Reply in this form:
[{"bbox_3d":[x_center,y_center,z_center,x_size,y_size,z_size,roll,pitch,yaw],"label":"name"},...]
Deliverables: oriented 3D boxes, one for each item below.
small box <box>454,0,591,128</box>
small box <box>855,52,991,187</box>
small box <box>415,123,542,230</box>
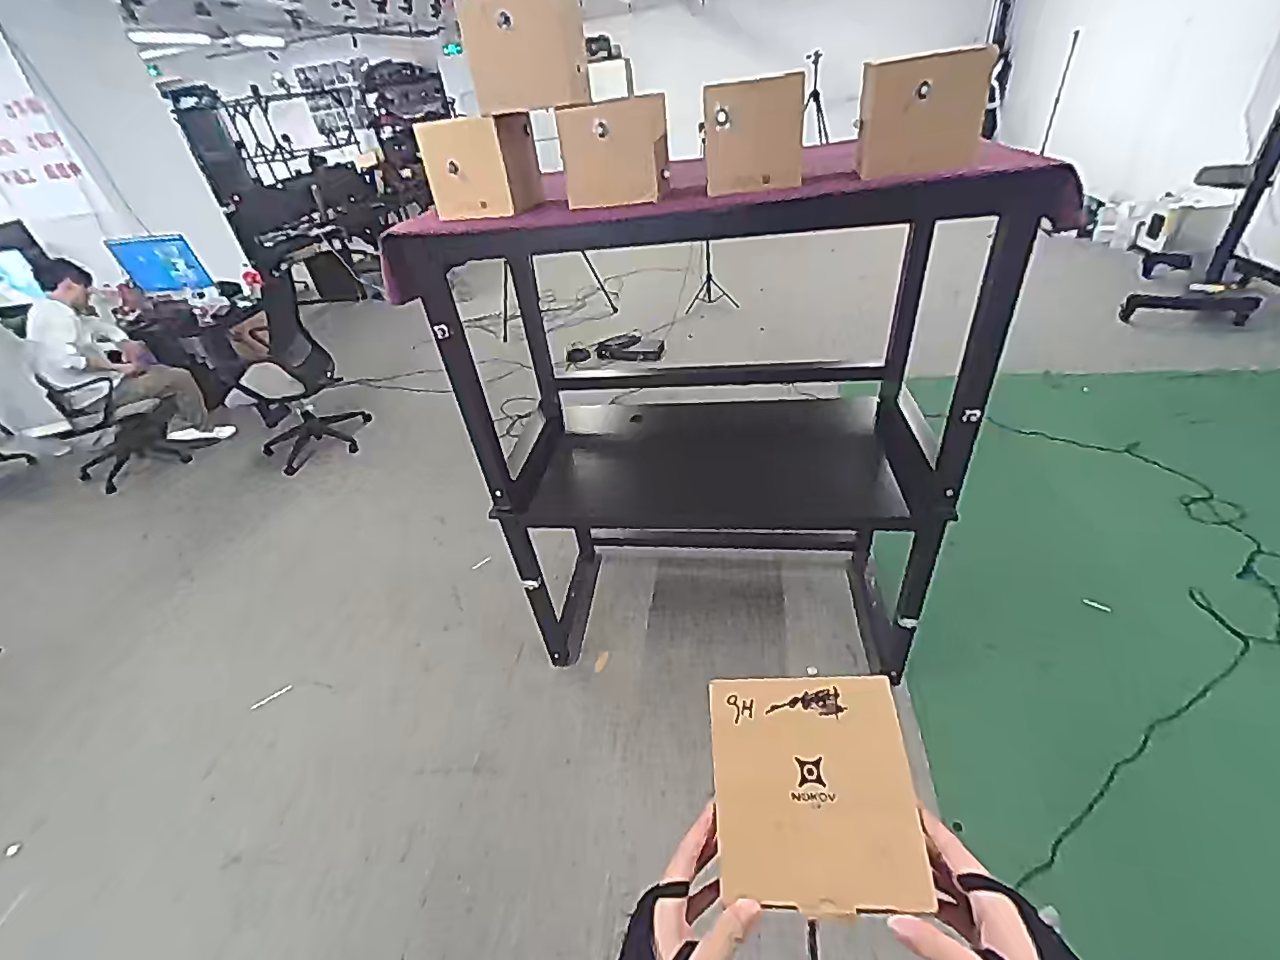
[{"bbox_3d":[-0.198,-0.741,0.968,0.179,0.176,0.168,-1,36,9],"label":"small box"},{"bbox_3d":[0.472,-0.619,0.936,0.179,0.176,0.168,1,38,15],"label":"small box"},{"bbox_3d":[-0.312,-0.611,1.093,0.168,0.176,0.179,2,35,14],"label":"small box"}]
